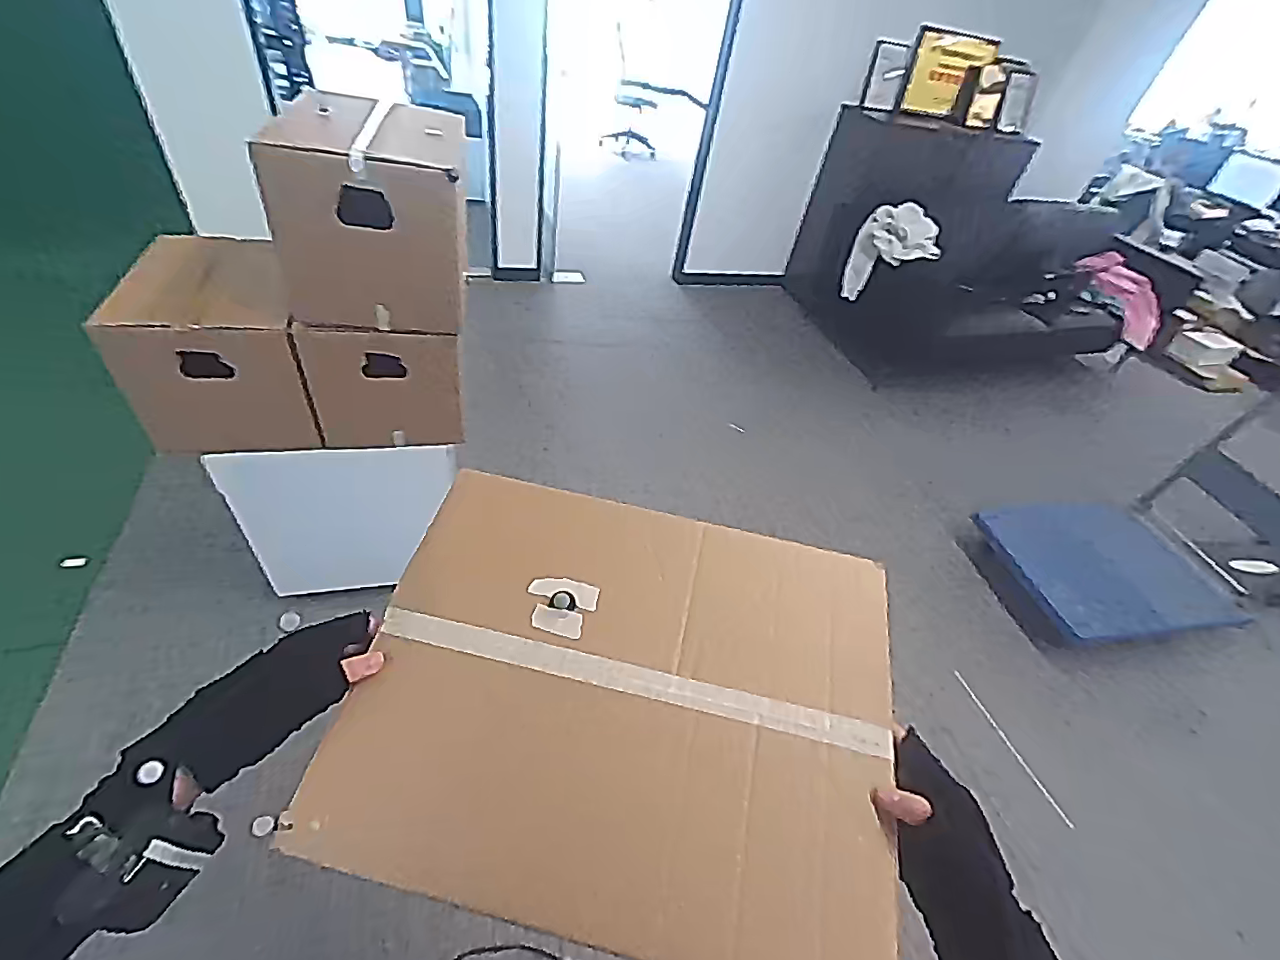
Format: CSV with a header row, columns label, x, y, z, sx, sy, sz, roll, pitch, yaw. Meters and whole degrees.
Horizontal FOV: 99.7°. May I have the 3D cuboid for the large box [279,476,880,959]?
label,x,y,z,sx,sy,sz,roll,pitch,yaw
large box,-0.021,0.238,0.547,0.408,0.320,0.320,12,55,5
